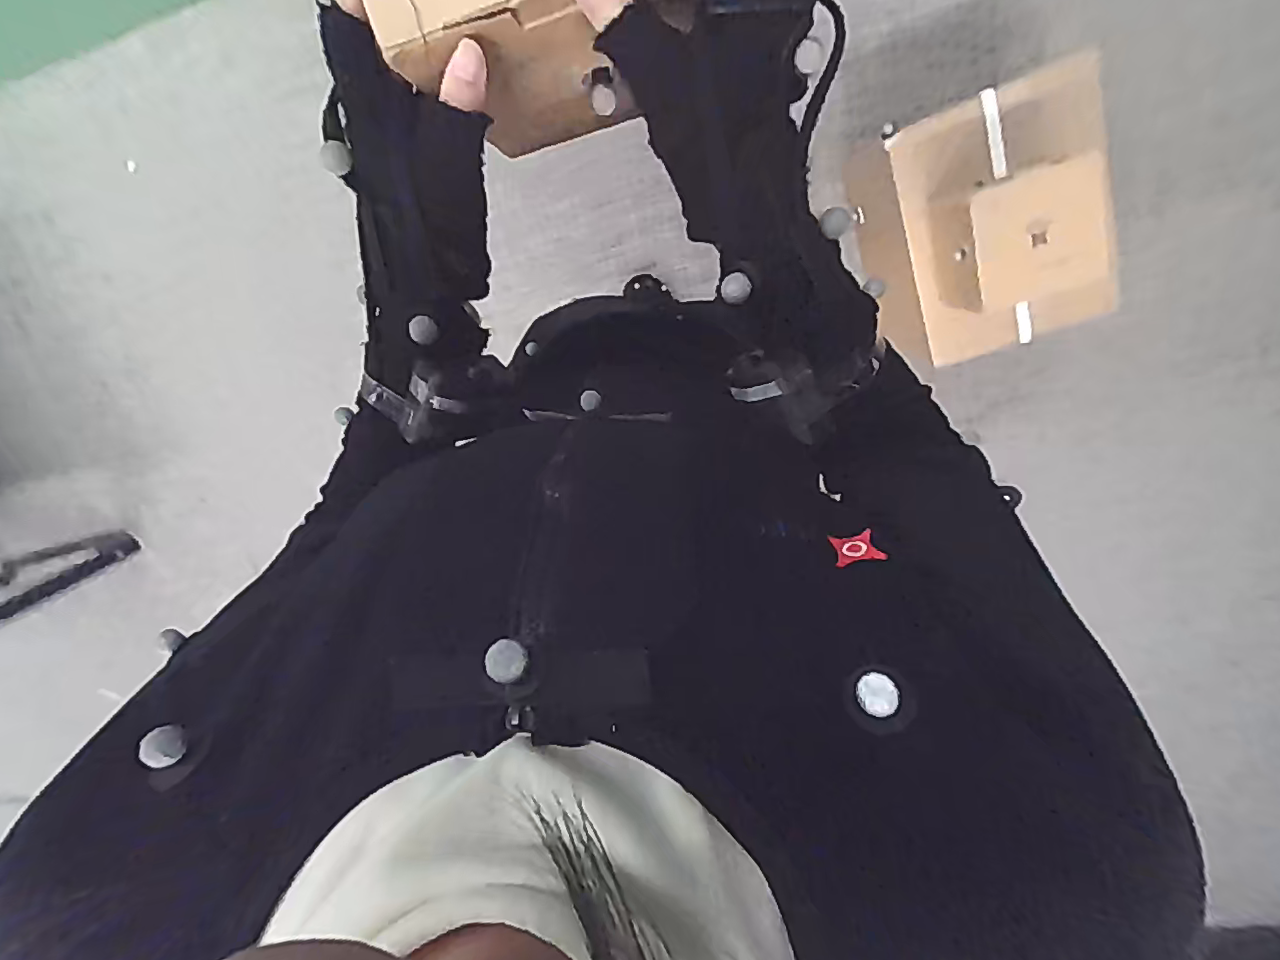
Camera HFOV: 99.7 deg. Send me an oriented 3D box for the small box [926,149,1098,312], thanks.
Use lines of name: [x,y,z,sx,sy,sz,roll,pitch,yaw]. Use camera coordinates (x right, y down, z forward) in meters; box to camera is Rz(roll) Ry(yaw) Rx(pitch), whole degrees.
small box: [0.571,-0.381,0.848,0.168,0.176,0.179,-16,110,14]

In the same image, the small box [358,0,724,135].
small box: [-0.051,-0.309,0.281,0.168,0.176,0.179,-13,106,11]
